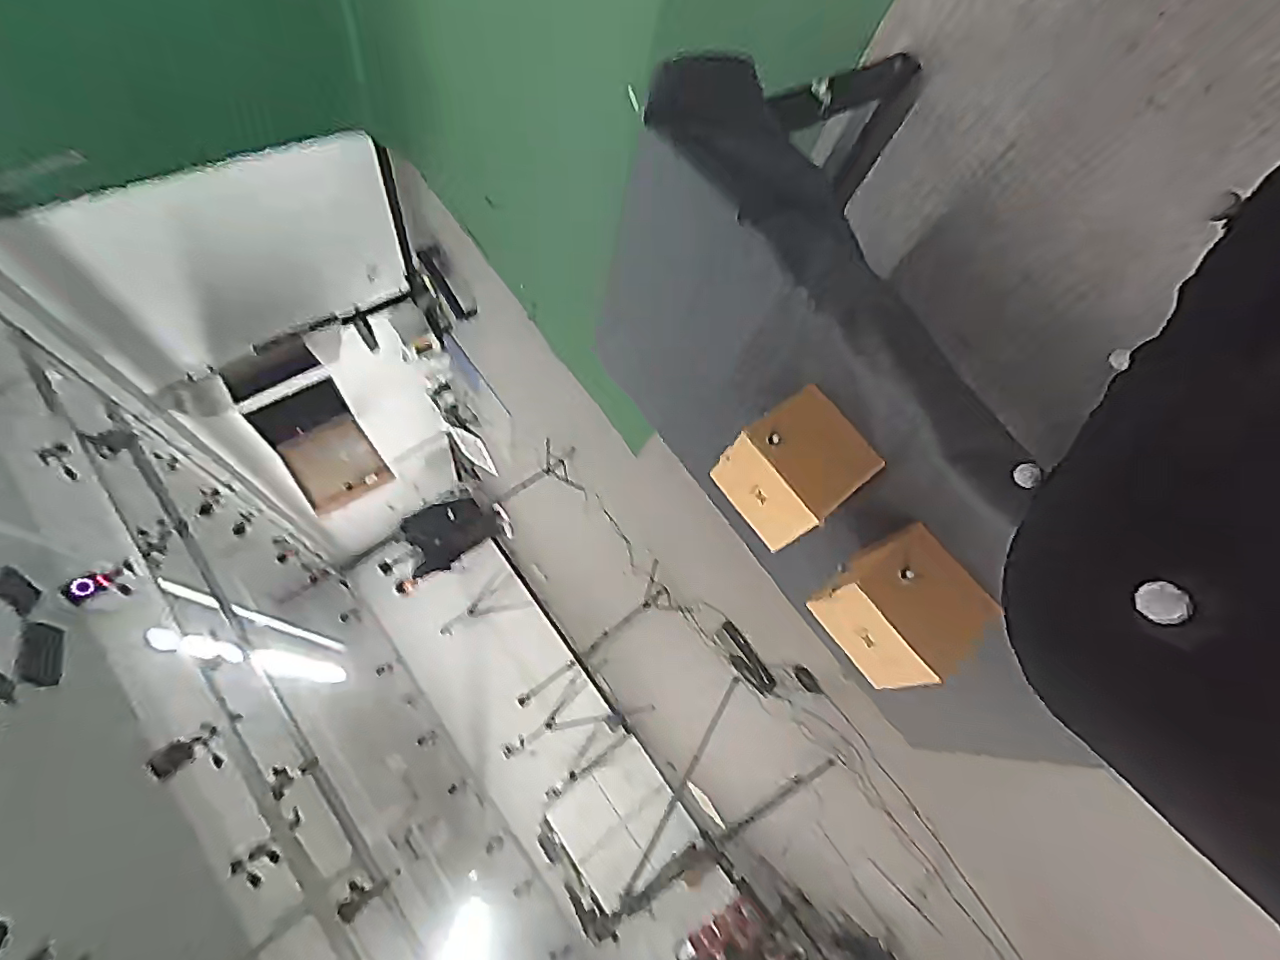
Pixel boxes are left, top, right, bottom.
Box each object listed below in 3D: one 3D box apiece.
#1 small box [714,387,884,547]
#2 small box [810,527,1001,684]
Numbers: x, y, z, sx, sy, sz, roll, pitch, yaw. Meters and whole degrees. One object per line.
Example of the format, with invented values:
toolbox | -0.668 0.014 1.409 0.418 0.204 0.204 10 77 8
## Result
small box | 0.260 -0.022 0.896 0.179 0.176 0.168 52 157 12
small box | 0.417 0.196 0.864 0.179 0.176 0.168 50 158 14
